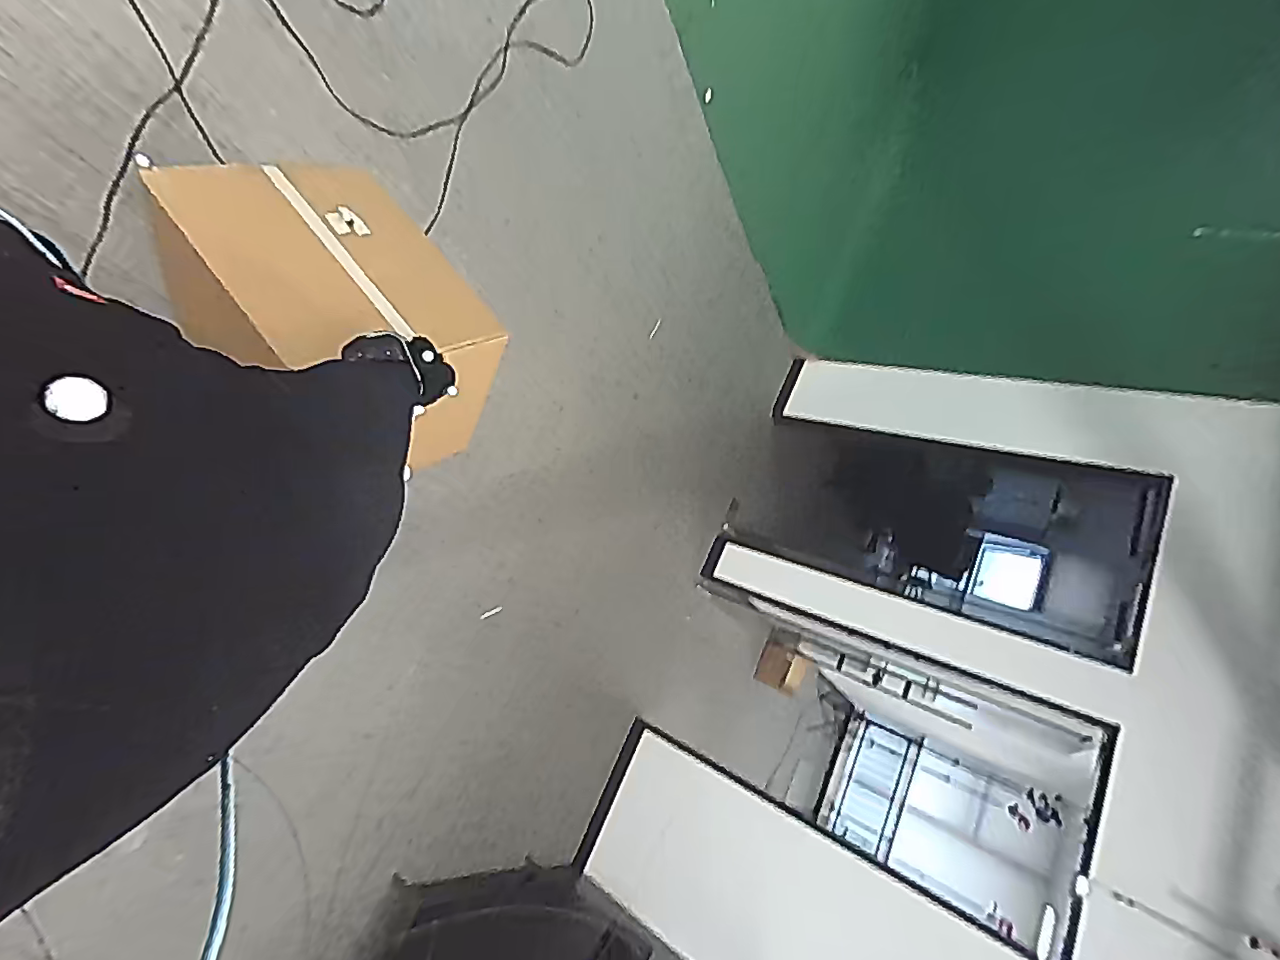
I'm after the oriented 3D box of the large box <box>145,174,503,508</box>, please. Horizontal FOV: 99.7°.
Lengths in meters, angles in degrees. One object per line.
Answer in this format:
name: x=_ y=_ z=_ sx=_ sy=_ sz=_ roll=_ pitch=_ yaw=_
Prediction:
large box: x=-0.503 y=-0.233 z=0.902 sx=0.320 sy=0.408 sz=0.320 roll=-33 pitch=168 yaw=-43
